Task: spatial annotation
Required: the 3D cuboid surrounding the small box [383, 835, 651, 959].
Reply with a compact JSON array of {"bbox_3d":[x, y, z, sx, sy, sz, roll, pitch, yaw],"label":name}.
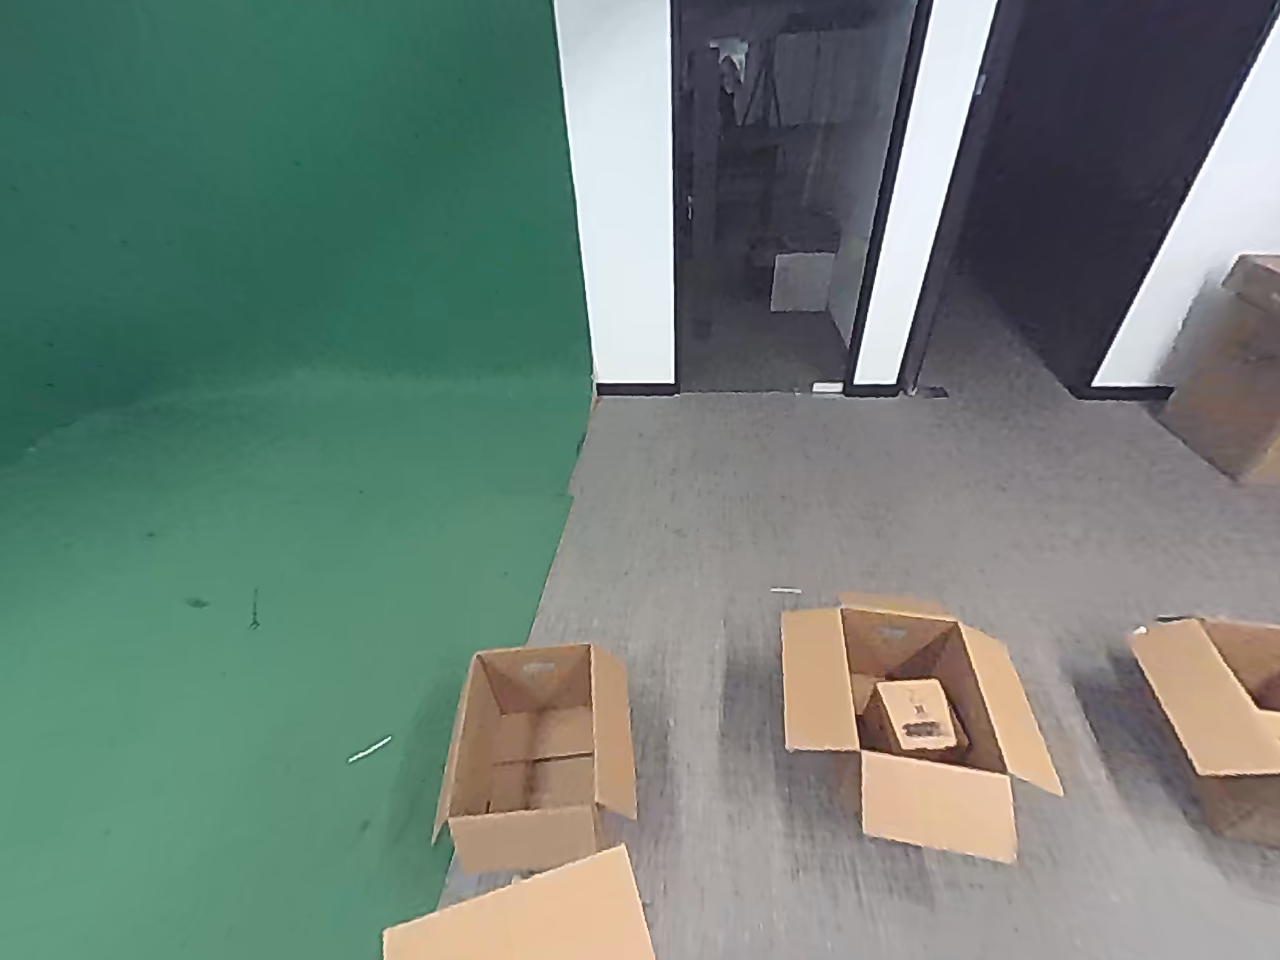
[{"bbox_3d":[-0.081,0.387,0.378,0.168,0.176,0.179,-6,50,-19],"label":"small box"}]
